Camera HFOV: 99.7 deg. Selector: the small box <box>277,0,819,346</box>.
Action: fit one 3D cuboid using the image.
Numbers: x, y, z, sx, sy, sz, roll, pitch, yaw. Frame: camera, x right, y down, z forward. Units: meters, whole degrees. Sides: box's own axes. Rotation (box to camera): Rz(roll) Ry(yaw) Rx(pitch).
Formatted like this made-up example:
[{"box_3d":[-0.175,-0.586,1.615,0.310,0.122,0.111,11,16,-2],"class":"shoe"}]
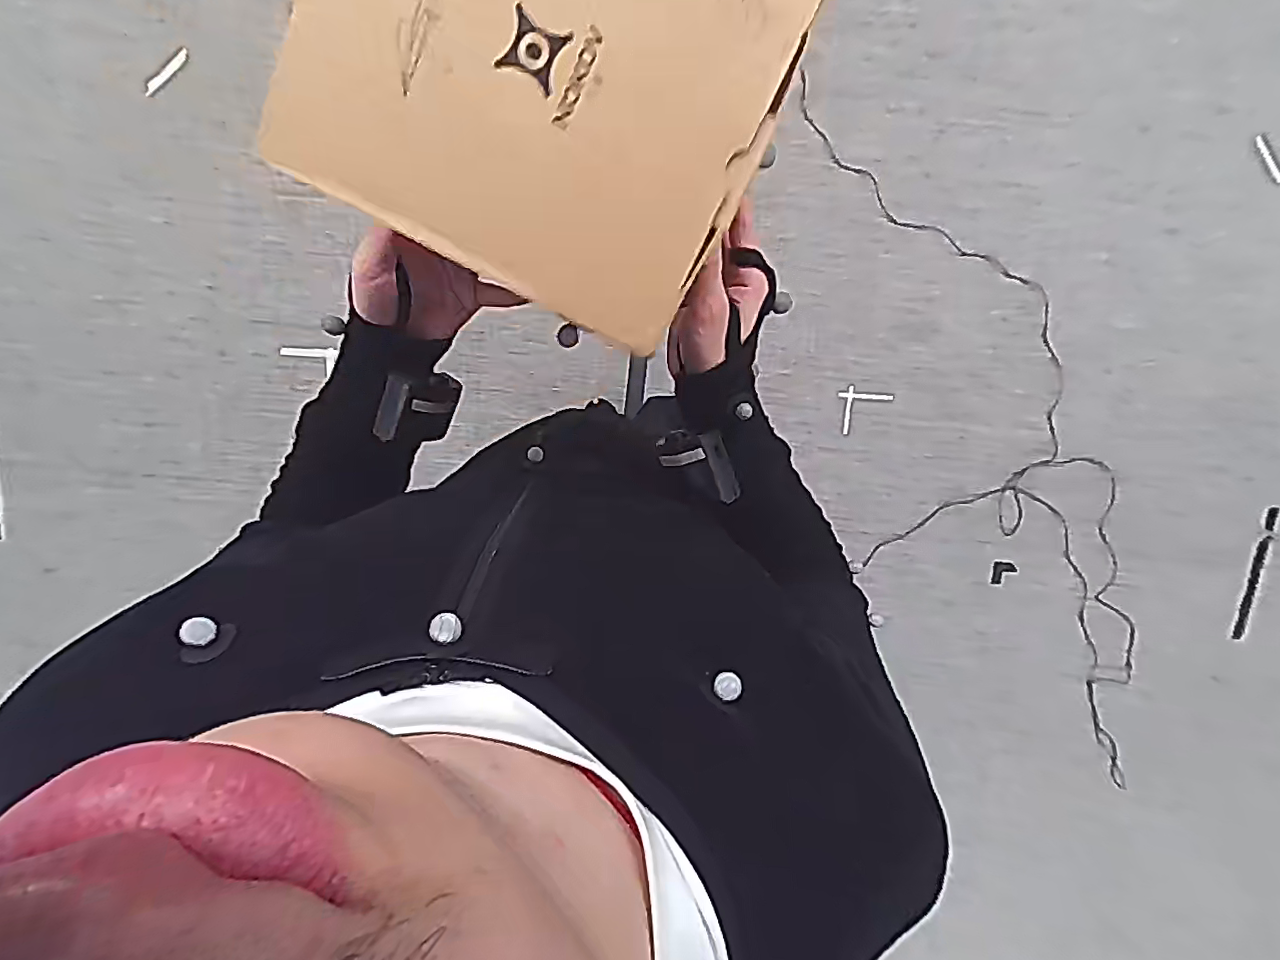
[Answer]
[{"box_3d":[-0.040,-0.186,0.295,0.179,0.176,0.168,24,100,-8],"class":"small box"}]
